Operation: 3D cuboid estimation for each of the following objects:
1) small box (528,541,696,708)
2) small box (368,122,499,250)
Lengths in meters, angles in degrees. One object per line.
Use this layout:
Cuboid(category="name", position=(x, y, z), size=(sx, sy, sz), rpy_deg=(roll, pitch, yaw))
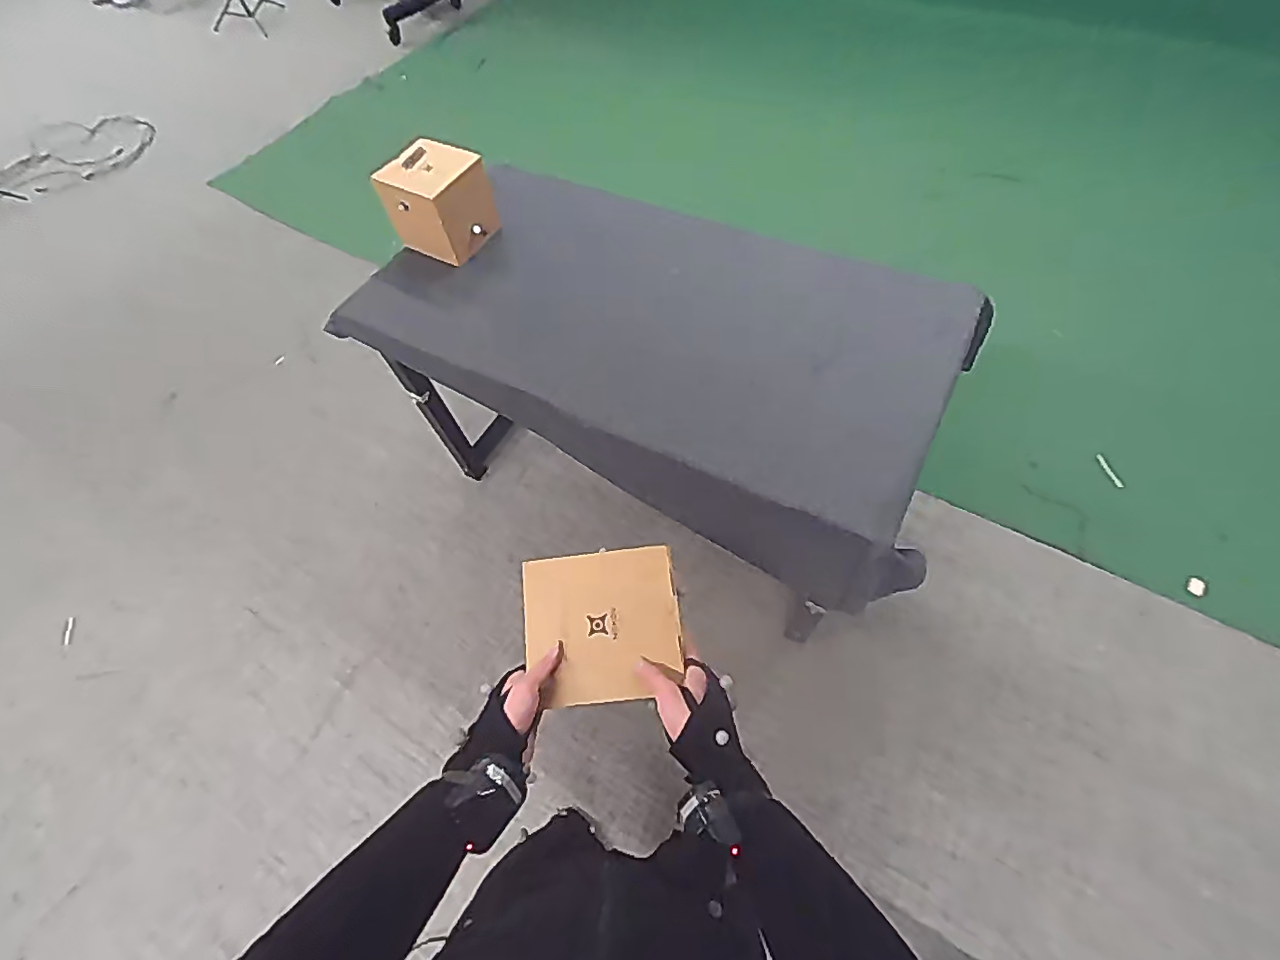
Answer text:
Cuboid(category="small box", position=(-0.030, 0.181, 0.672), size=(0.179, 0.176, 0.168), rpy_deg=(-8, 70, 2))
Cuboid(category="small box", position=(-0.440, -0.637, 1.182), size=(0.179, 0.176, 0.168), rpy_deg=(26, 66, 15))
